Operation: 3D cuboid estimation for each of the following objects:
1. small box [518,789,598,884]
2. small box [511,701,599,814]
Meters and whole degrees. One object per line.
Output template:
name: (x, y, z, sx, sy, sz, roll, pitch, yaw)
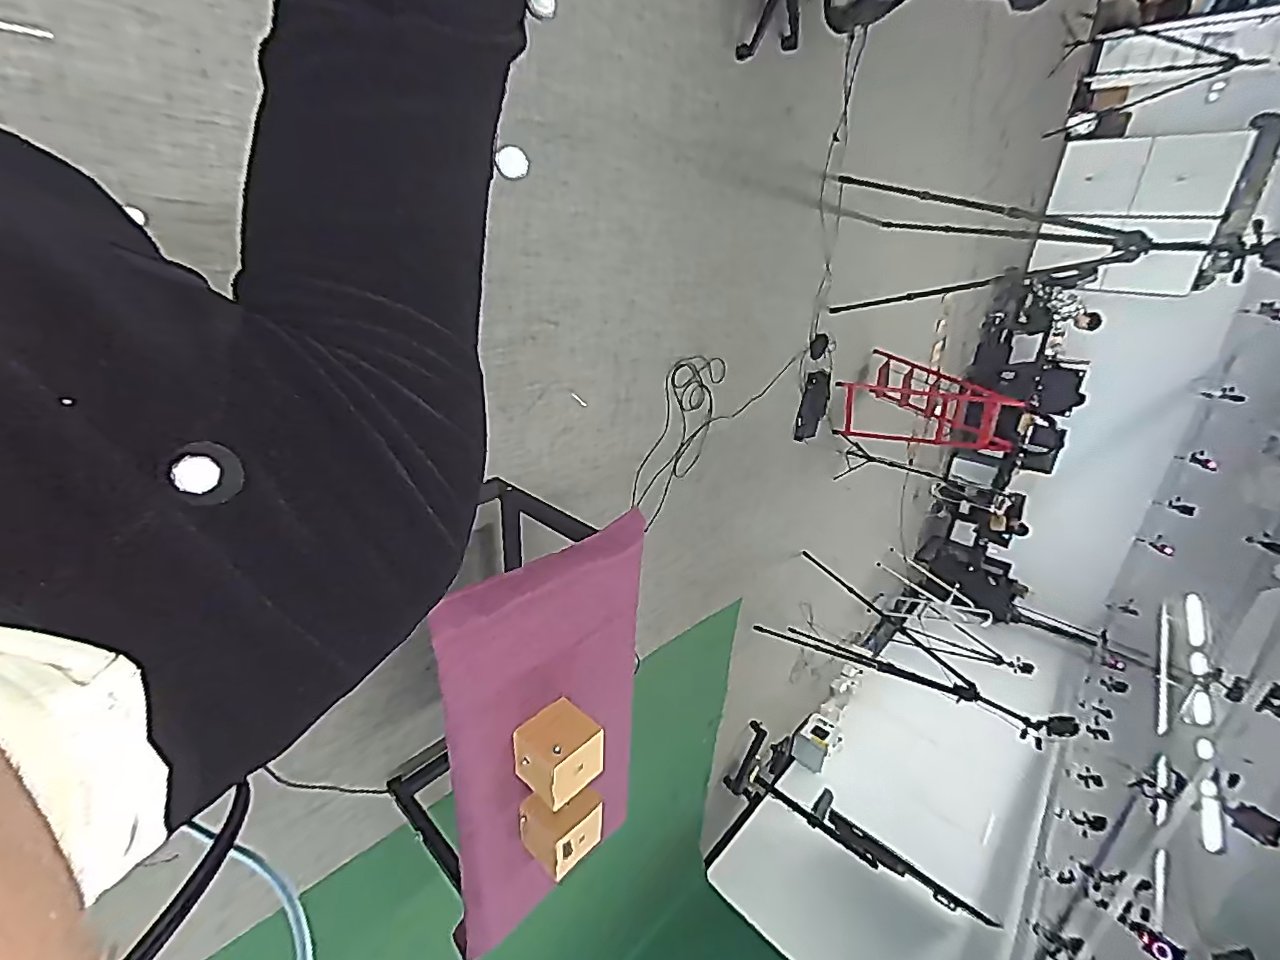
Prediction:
small box: (-0.243, 1.011, 1.587, 0.179, 0.176, 0.168, -20, 122, -45)
small box: (-0.232, 0.746, 1.476, 0.179, 0.176, 0.168, -22, 123, -43)
